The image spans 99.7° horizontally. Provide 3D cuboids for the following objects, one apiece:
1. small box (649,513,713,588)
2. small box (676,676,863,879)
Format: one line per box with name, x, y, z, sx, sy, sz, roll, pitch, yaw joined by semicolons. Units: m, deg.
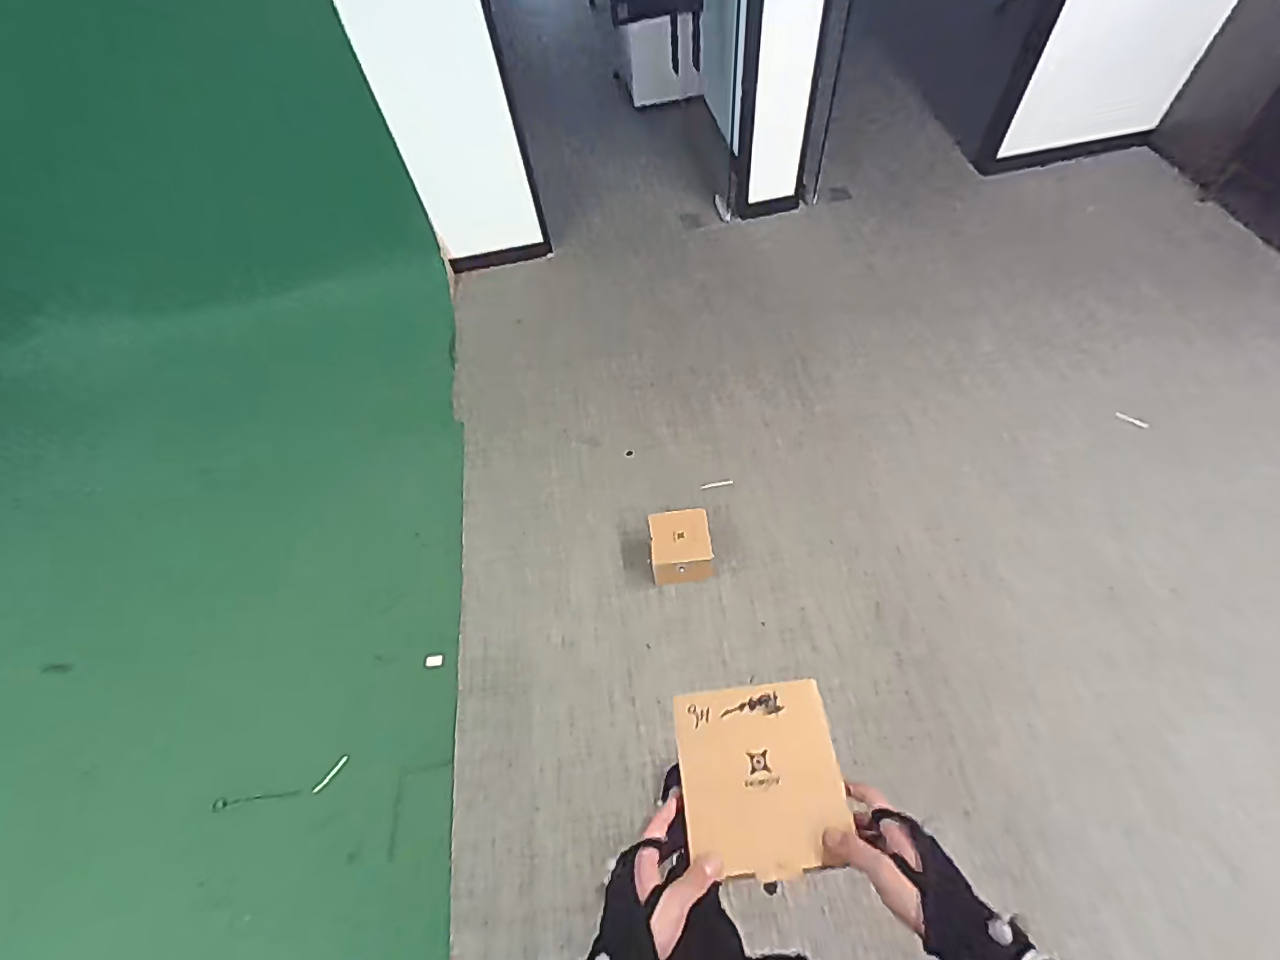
small box;0.126;0.217;1.634;0.179;0.176;0.168;-6;58;2
small box;0.135;0.345;0.629;0.168;0.176;0.179;-7;55;1
